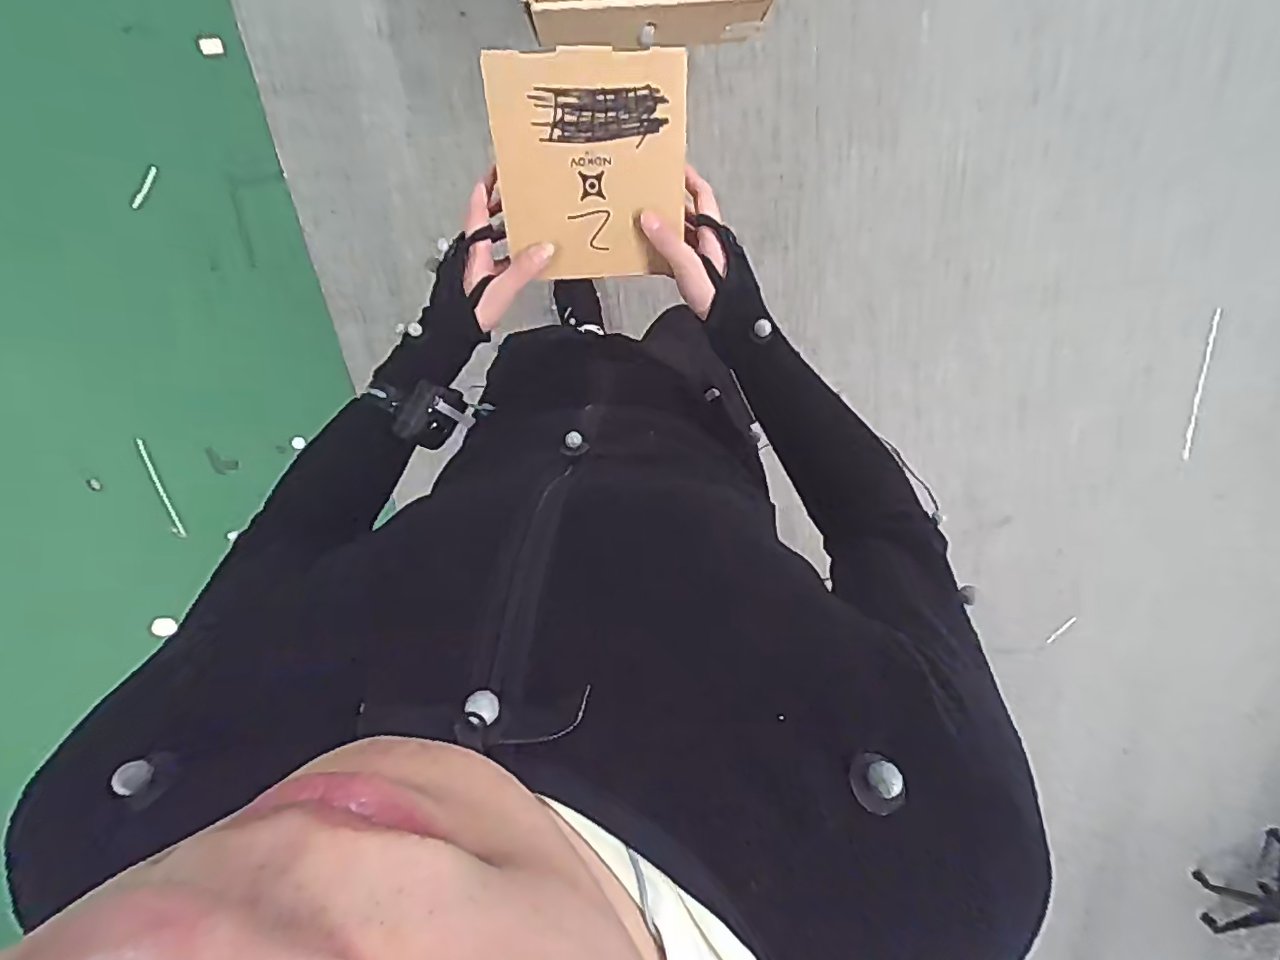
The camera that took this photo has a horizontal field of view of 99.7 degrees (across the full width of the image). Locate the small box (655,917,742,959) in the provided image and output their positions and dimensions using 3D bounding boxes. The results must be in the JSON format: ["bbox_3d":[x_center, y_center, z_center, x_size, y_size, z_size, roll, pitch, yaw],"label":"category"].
[{"bbox_3d":[0.146,1.174,1.271,0.168,0.176,0.179,-27,111,7],"label":"small box"}]
